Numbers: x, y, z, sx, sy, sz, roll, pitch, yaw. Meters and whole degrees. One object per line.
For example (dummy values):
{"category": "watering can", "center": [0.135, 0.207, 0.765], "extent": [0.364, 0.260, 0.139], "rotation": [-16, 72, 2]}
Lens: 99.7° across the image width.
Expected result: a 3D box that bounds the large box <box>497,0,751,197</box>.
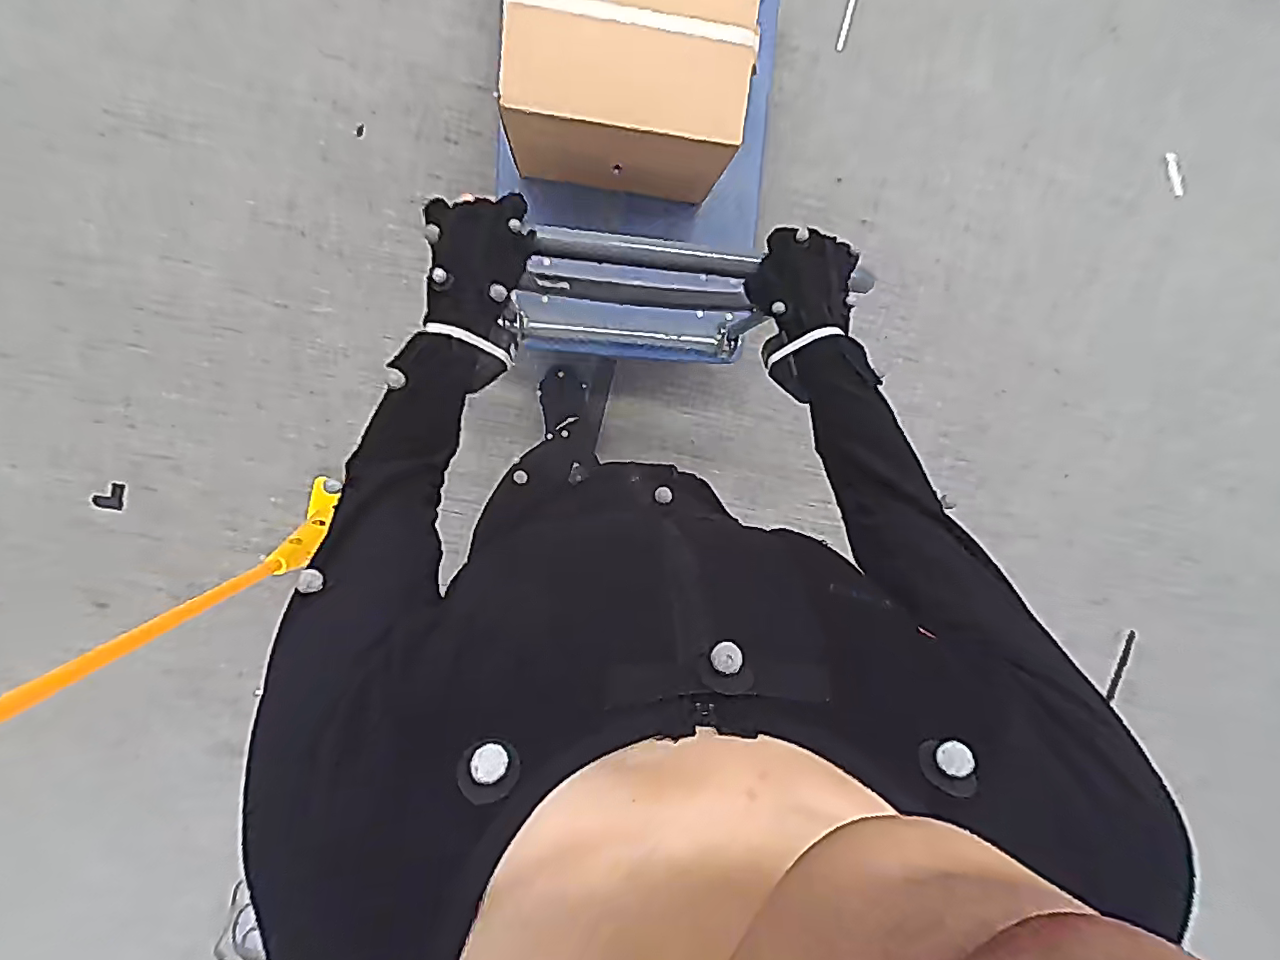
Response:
{"category": "large box", "center": [-0.033, -0.765, 1.018], "extent": [0.408, 0.320, 0.320], "rotation": [6, 100, -6]}
